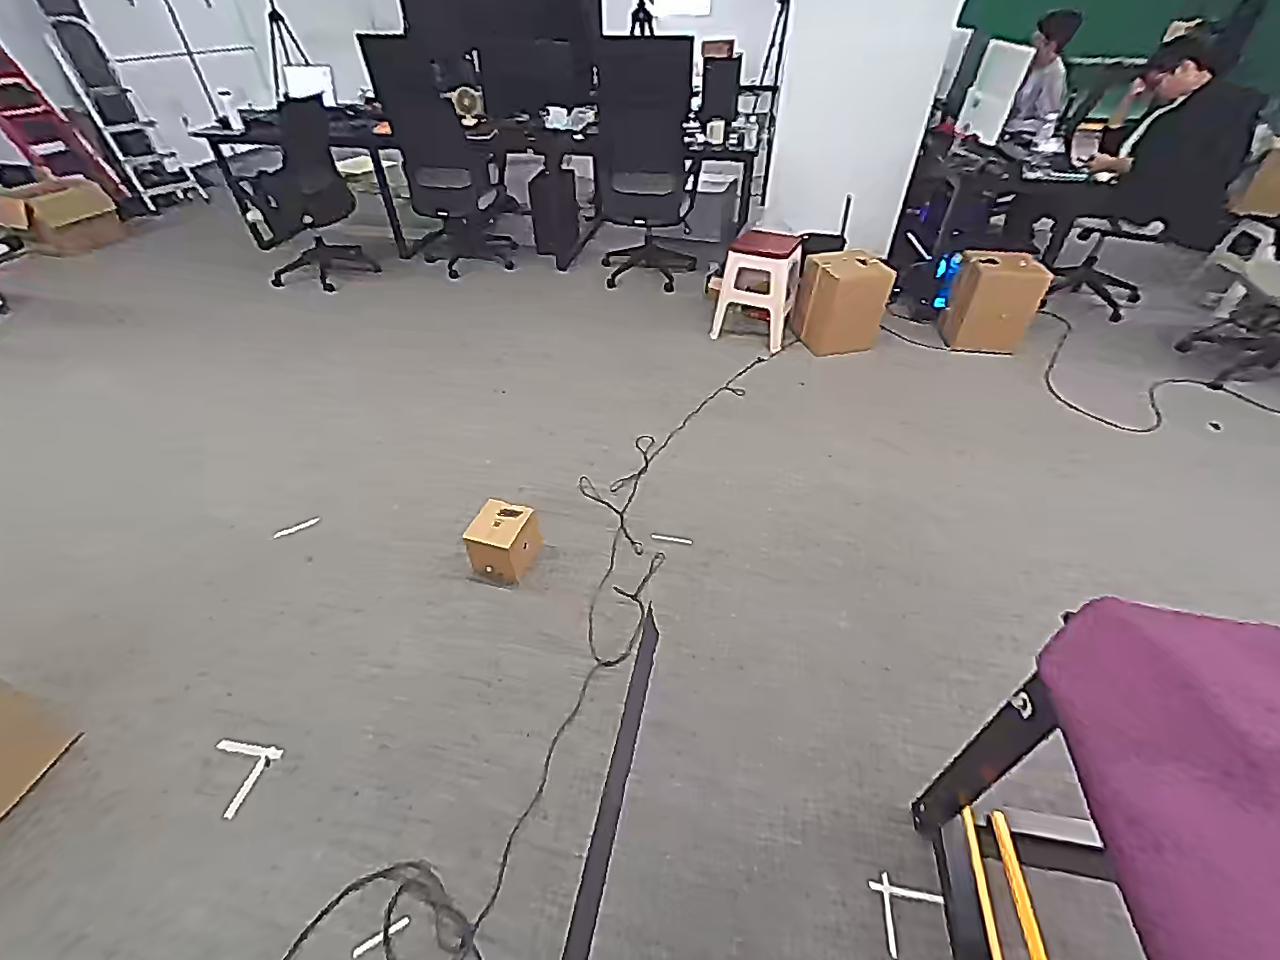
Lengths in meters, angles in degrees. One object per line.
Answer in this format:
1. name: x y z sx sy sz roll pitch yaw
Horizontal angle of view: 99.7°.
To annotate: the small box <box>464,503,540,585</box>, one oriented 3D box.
1. small box: -0.433 0.205 1.737 0.168 0.176 0.179 12 44 15
